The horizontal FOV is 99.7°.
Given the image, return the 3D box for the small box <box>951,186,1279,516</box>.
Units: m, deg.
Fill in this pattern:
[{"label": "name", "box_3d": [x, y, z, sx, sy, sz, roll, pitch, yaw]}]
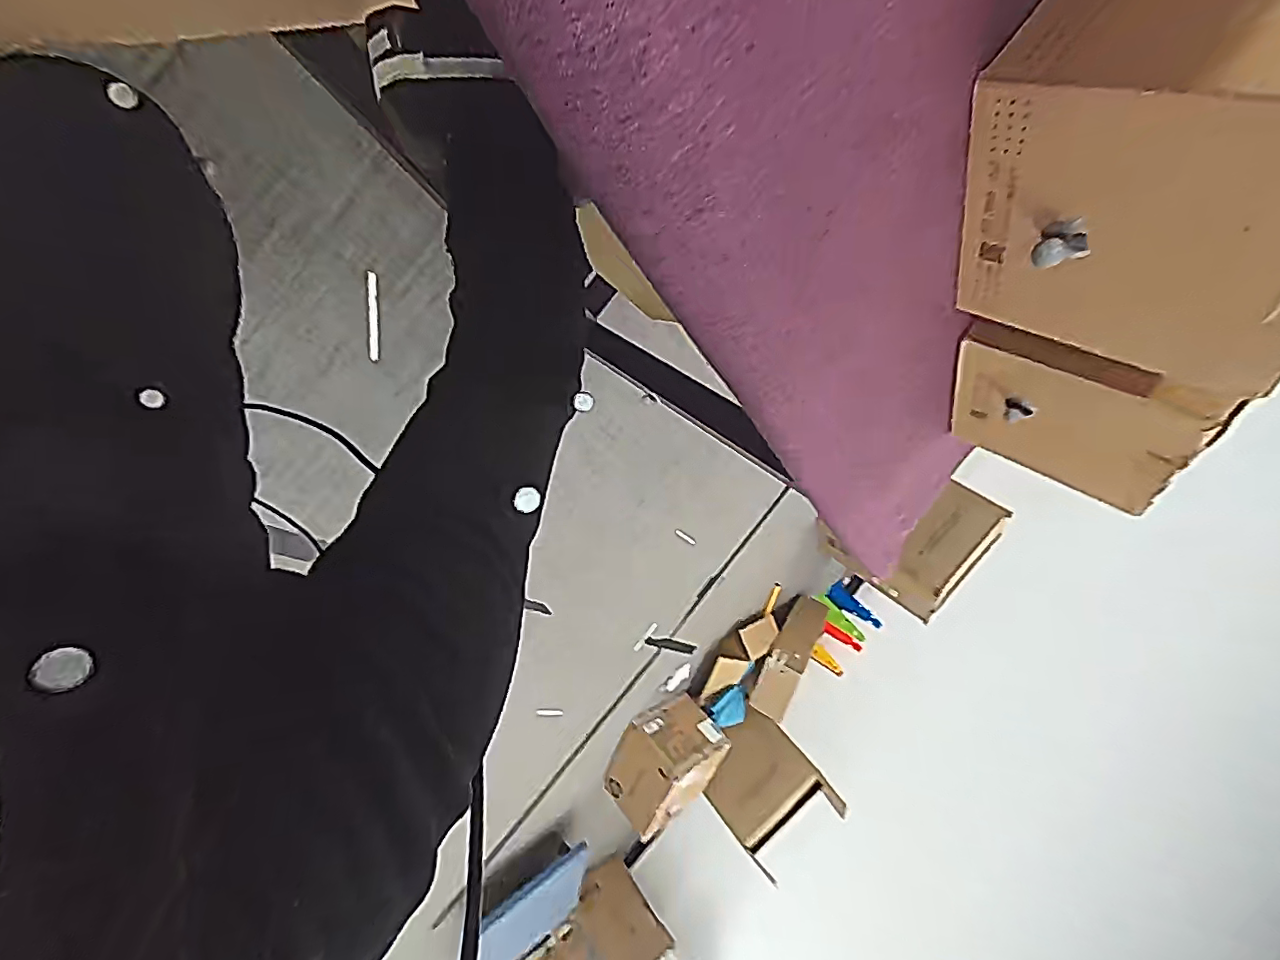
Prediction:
[{"label": "small box", "box_3d": [0.393, -0.106, 0.447, 0.179, 0.176, 0.168, -50, 144, -3]}]
